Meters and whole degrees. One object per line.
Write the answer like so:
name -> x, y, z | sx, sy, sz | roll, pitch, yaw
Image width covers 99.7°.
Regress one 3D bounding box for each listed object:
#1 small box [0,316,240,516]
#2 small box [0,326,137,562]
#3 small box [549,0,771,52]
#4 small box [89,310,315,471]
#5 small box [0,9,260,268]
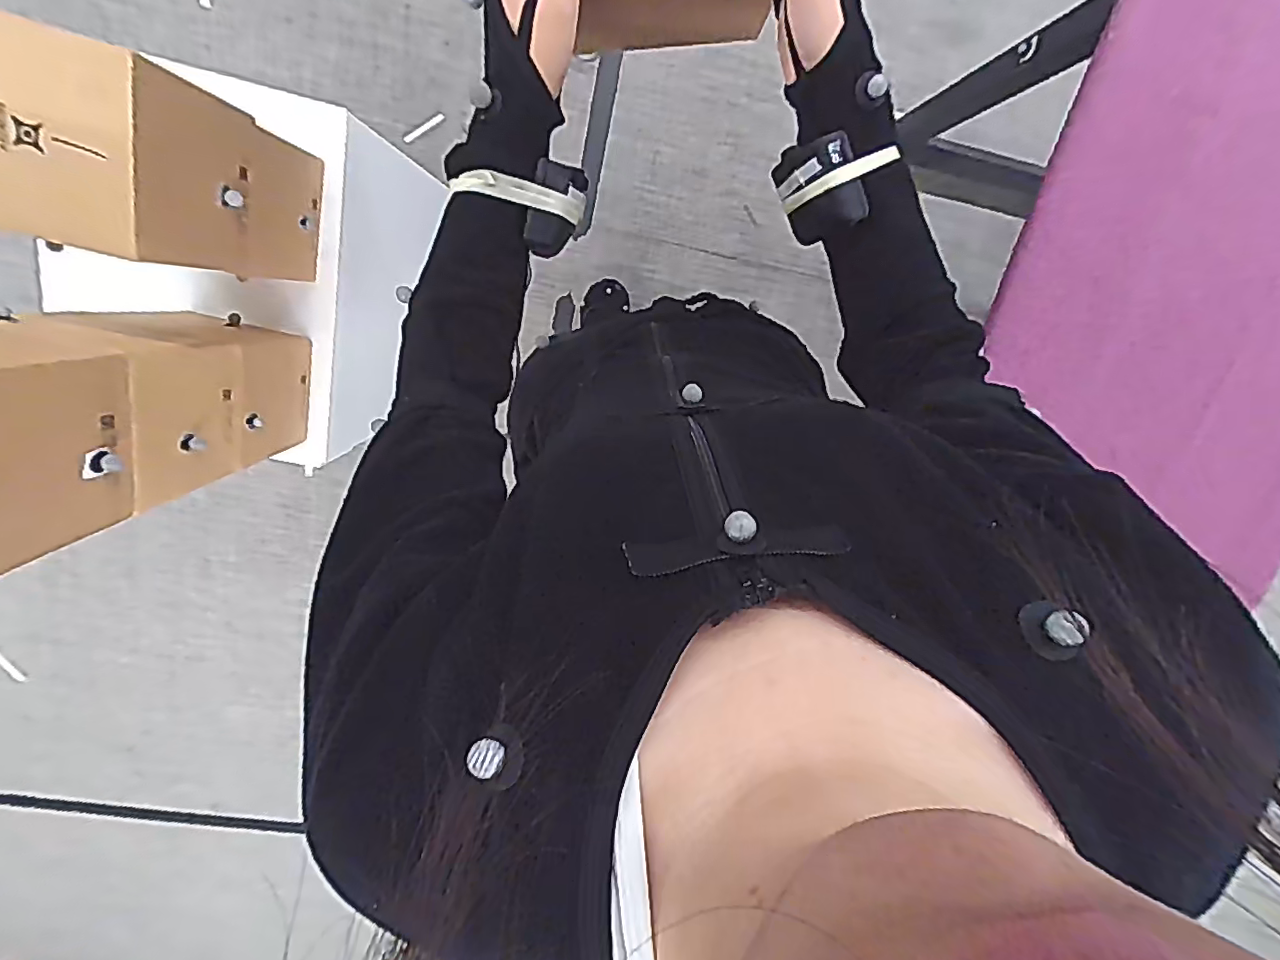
small box -> -0.571, -0.079, 0.584 | 0.179, 0.176, 0.168 | 11, 107, -6
small box -> -0.563, -0.032, 0.429 | 0.179, 0.176, 0.168 | 10, 107, -7
small box -> 0.016, -0.427, 0.369 | 0.179, 0.176, 0.168 | -3, 108, 1
small box -> -0.583, -0.127, 0.739 | 0.179, 0.176, 0.168 | 12, 107, -6
small box -> -0.507, -0.308, 0.514 | 0.179, 0.176, 0.168 | 13, 107, -9
